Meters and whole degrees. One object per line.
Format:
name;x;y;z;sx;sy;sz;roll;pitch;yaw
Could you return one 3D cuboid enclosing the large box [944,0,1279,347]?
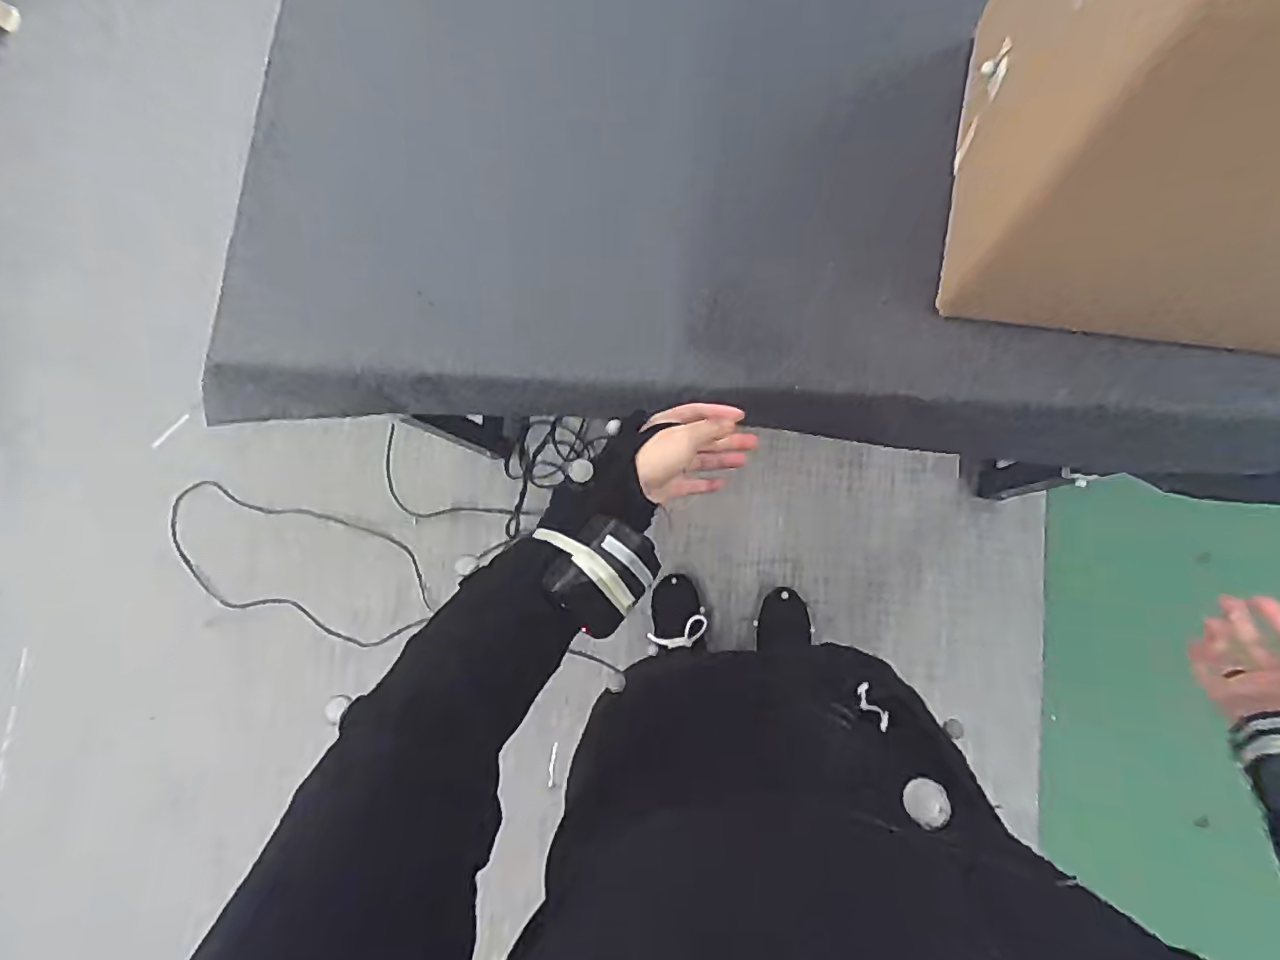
large box;0.483;-0.298;0.358;0.408;0.320;0.320;10;84;10
